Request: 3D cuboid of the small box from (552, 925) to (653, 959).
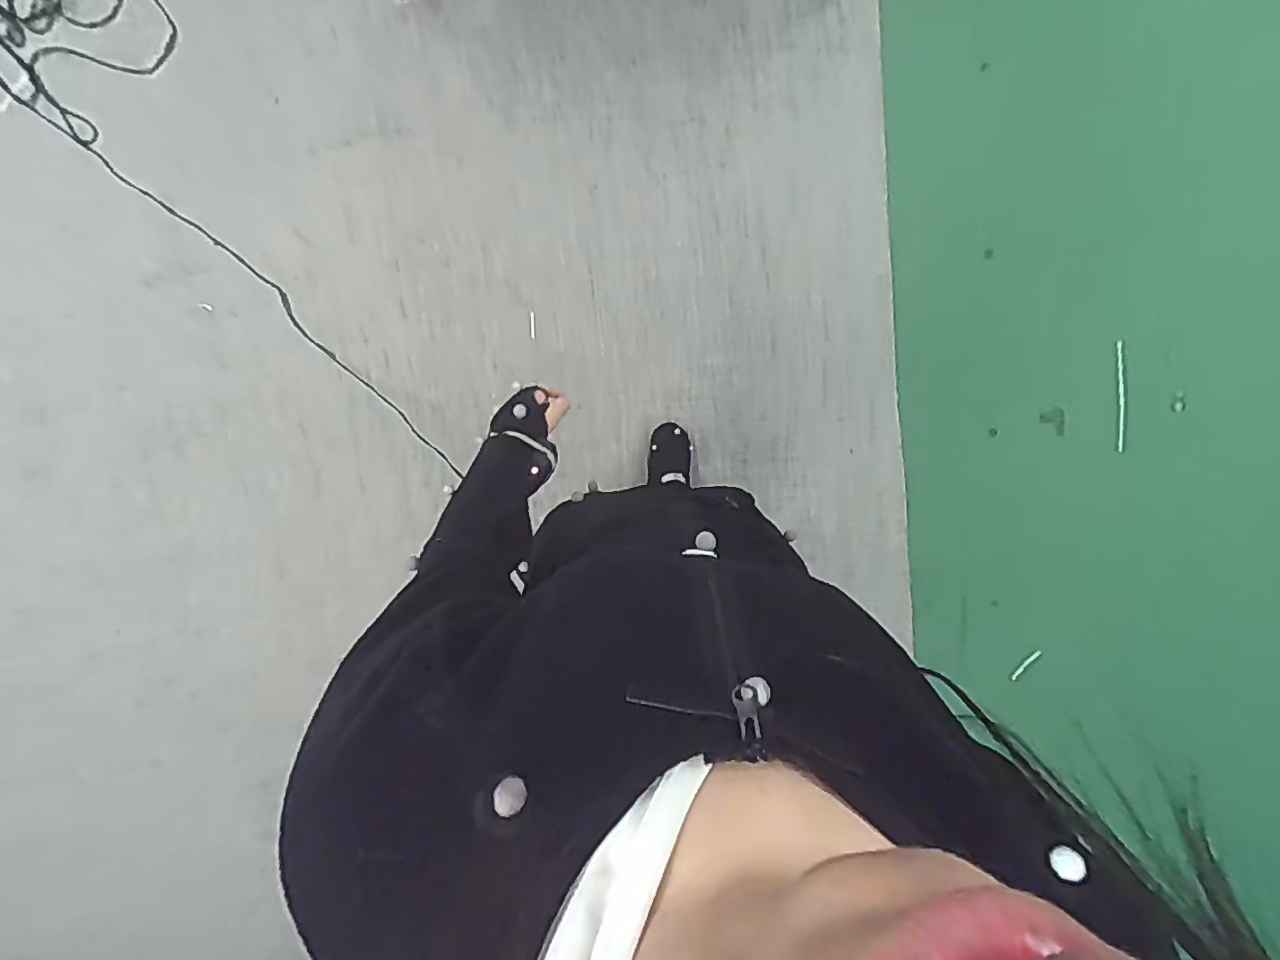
[{"bbox_3d":[-0.056,0.855,0.847,0.168,0.176,0.179,-3,94,-3],"label":"small box"}]
